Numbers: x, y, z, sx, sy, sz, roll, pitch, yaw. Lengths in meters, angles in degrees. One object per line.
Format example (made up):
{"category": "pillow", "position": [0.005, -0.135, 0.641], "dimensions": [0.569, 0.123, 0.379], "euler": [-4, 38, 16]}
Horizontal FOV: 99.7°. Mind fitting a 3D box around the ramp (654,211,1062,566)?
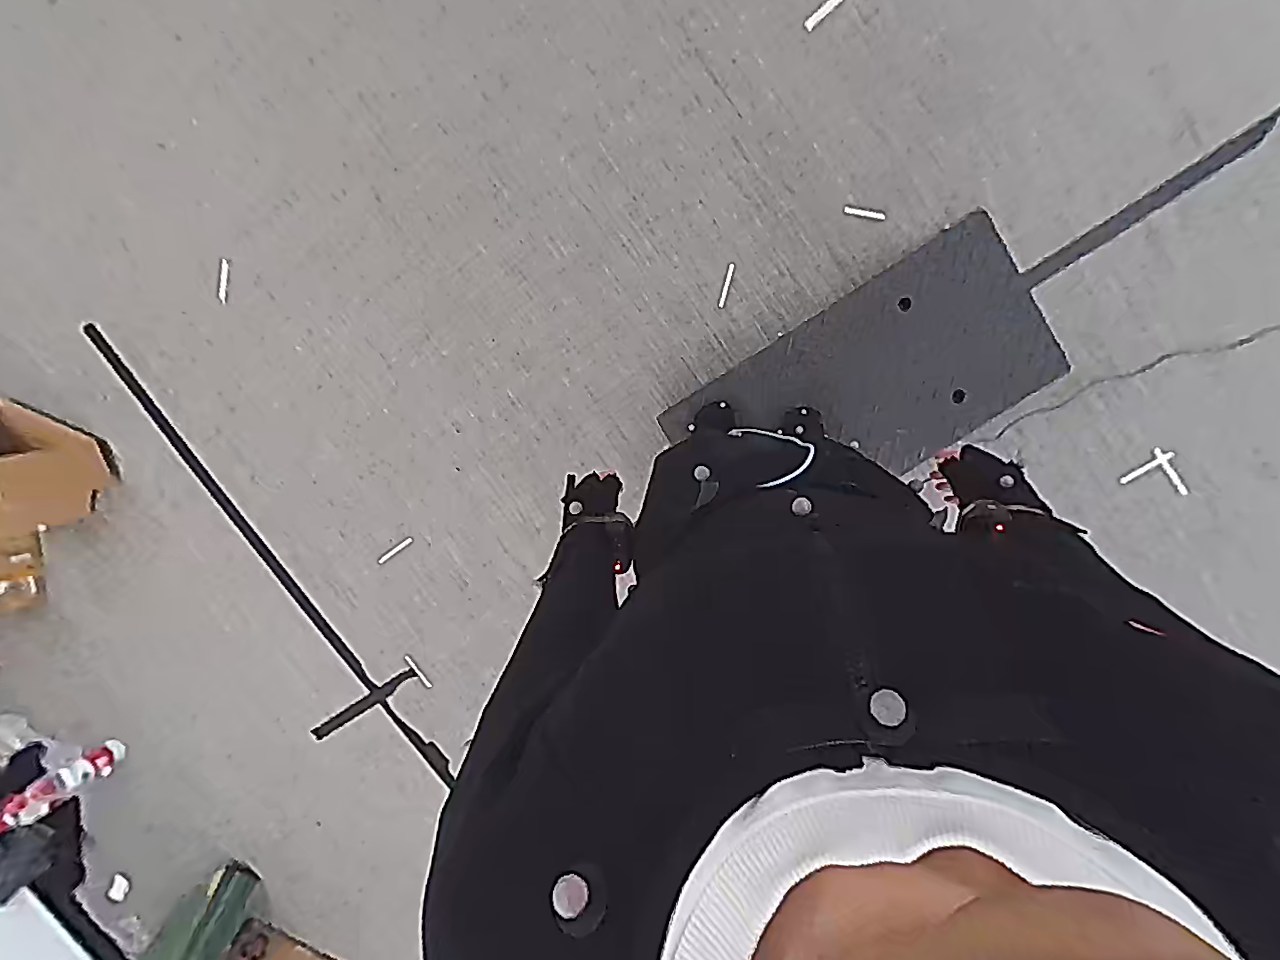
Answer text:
{"category": "ramp", "position": [0.576, -0.234, 1.437], "dimensions": [0.991, 0.206, 0.509], "euler": [-34, 94, 12]}
